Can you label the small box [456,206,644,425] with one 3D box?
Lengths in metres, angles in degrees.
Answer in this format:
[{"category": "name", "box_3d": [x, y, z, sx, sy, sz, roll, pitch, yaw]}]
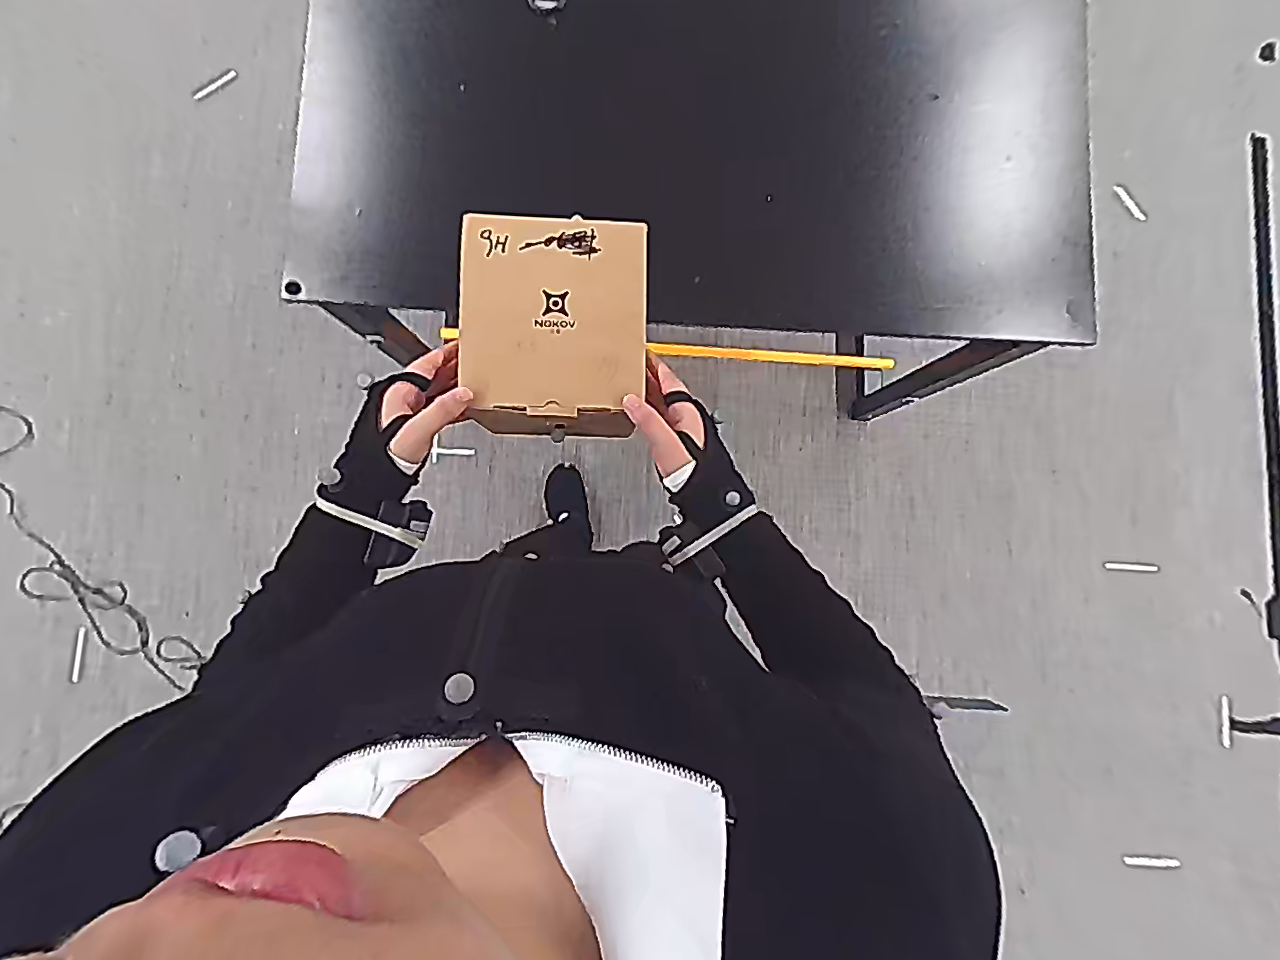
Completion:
[{"category": "small box", "box_3d": [-0.084, -0.153, 0.562, 0.168, 0.176, 0.179, 1, 88, -4]}]
